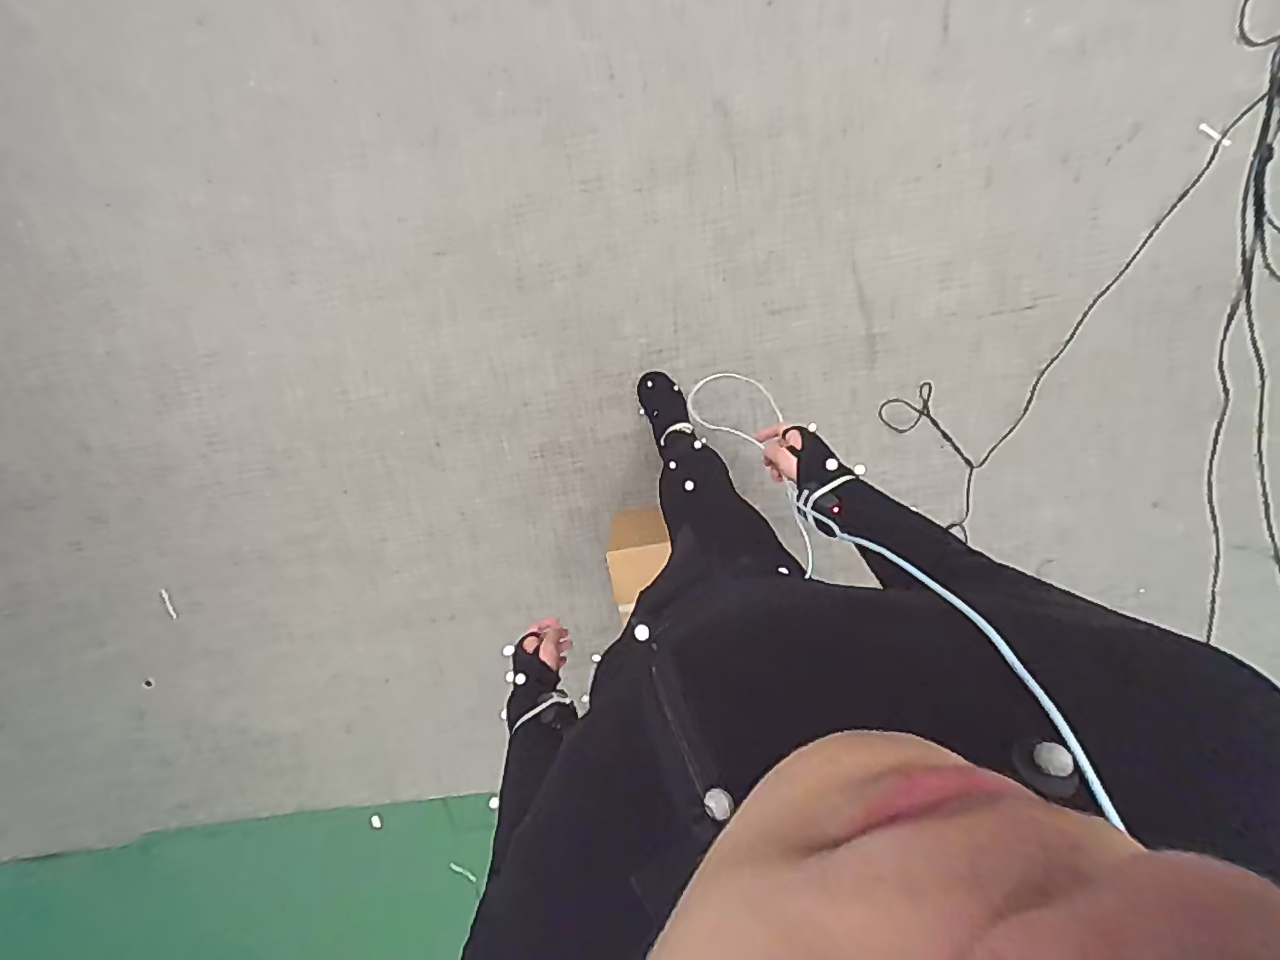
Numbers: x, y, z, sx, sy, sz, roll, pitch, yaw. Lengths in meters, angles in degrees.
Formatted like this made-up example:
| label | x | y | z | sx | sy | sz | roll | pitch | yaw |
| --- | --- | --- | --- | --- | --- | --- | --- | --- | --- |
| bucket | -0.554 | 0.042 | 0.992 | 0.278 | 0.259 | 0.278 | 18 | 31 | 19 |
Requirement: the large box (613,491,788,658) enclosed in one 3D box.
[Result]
| label | x | y | z | sx | sy | sz | roll | pitch | yaw |
| --- | --- | --- | --- | --- | --- | --- | --- | --- | --- |
| large box | 0.164 | 0.249 | 1.517 | 0.408 | 0.320 | 0.320 | -11 | 103 | 6 |
